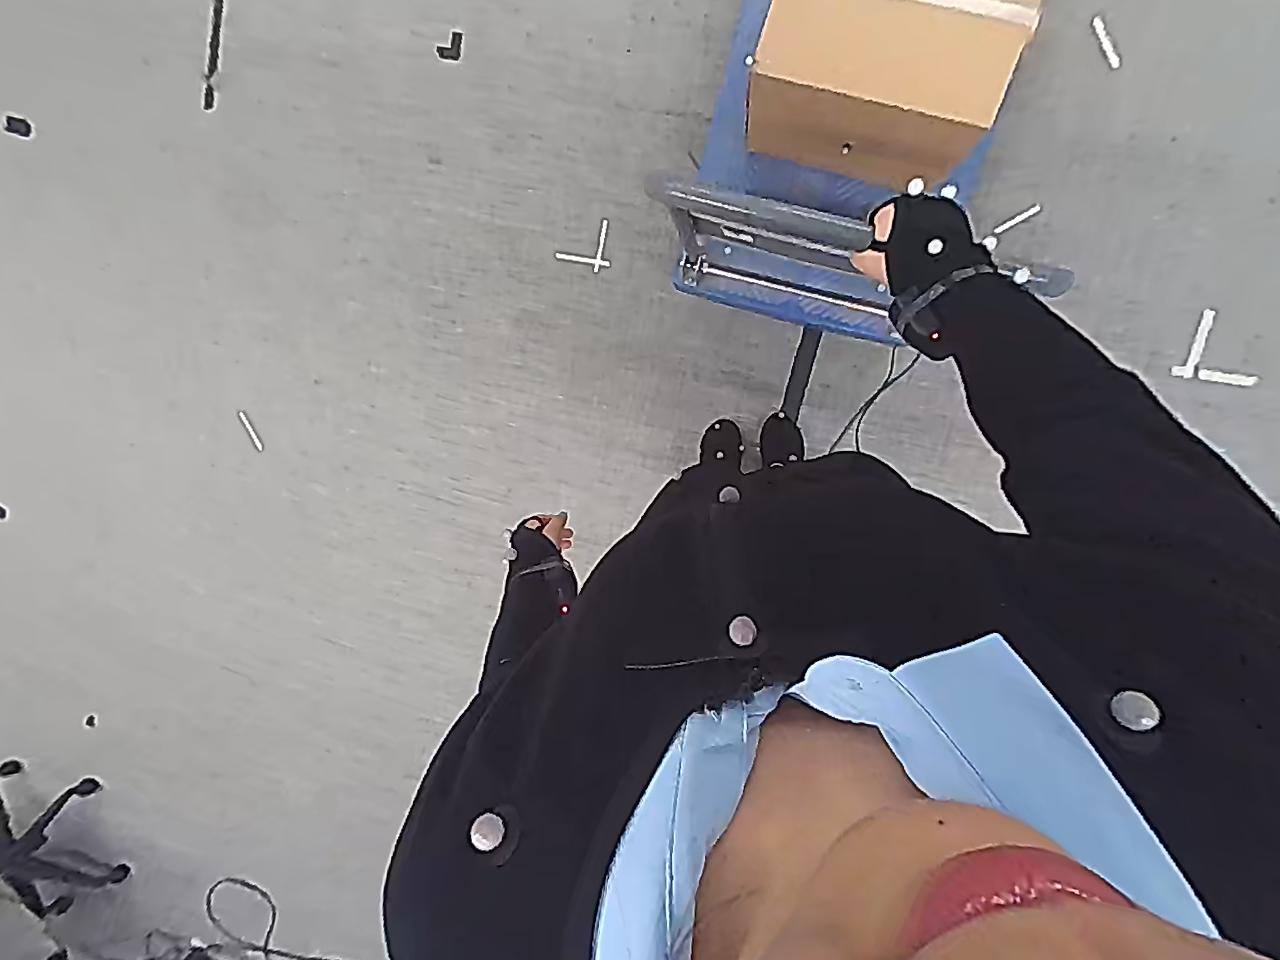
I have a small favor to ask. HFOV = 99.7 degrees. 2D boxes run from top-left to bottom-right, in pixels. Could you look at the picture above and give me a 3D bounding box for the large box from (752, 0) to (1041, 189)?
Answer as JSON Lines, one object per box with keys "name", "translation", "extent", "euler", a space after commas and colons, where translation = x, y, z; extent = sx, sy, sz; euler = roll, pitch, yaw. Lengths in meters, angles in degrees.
{"name": "large box", "translation": [0.450, -0.792, 1.000], "extent": [0.408, 0.320, 0.320], "euler": [19, 100, 8]}
